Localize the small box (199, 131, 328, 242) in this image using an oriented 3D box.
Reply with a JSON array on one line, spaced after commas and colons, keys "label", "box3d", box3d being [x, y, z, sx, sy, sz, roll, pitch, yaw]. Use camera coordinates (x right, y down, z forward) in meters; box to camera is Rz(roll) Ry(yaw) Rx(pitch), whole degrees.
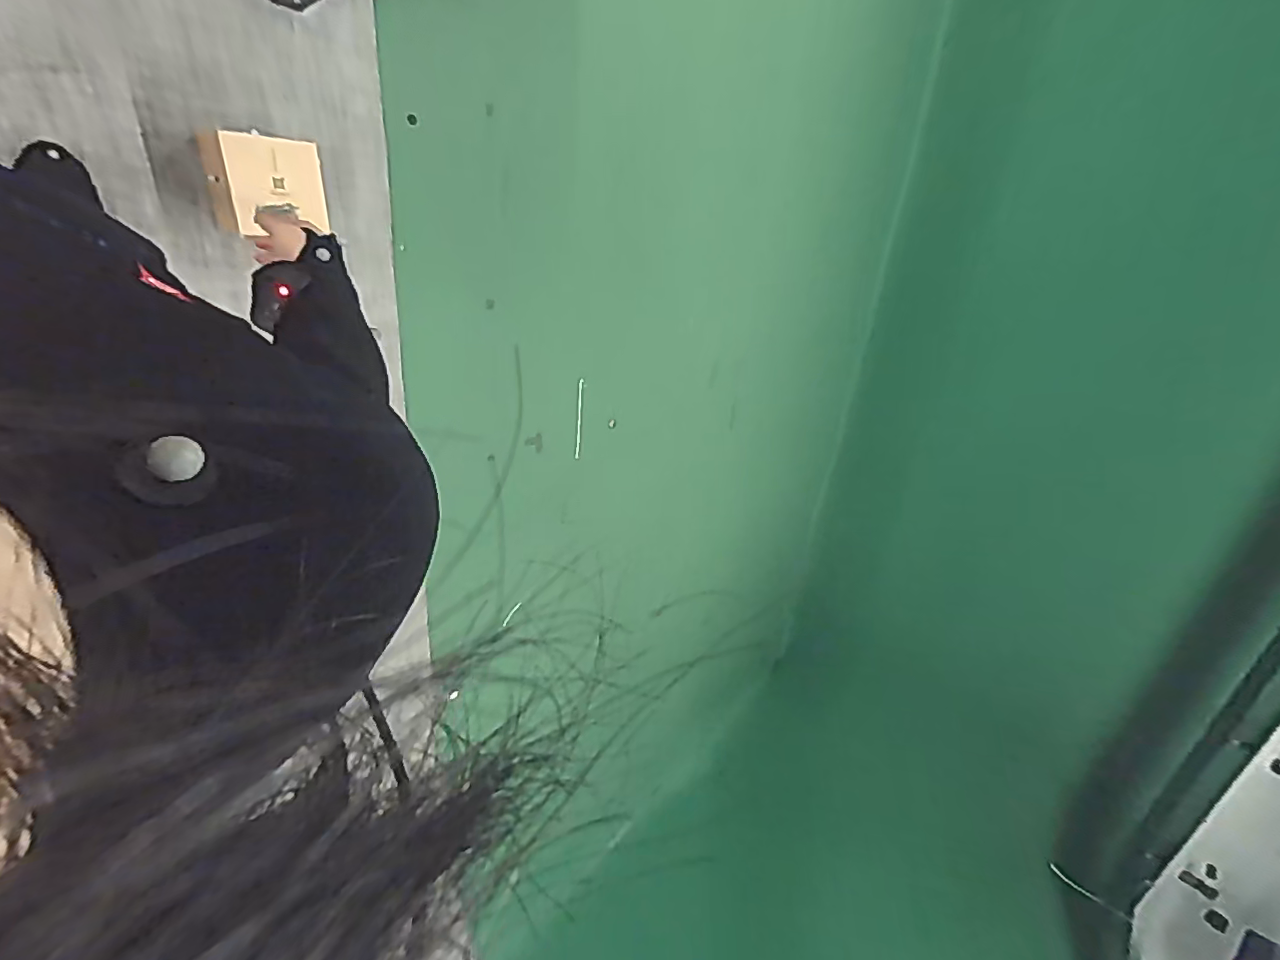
[{"label": "small box", "box3d": [-0.763, -0.589, 1.099, 0.168, 0.176, 0.179, -20, 124, -42]}]
